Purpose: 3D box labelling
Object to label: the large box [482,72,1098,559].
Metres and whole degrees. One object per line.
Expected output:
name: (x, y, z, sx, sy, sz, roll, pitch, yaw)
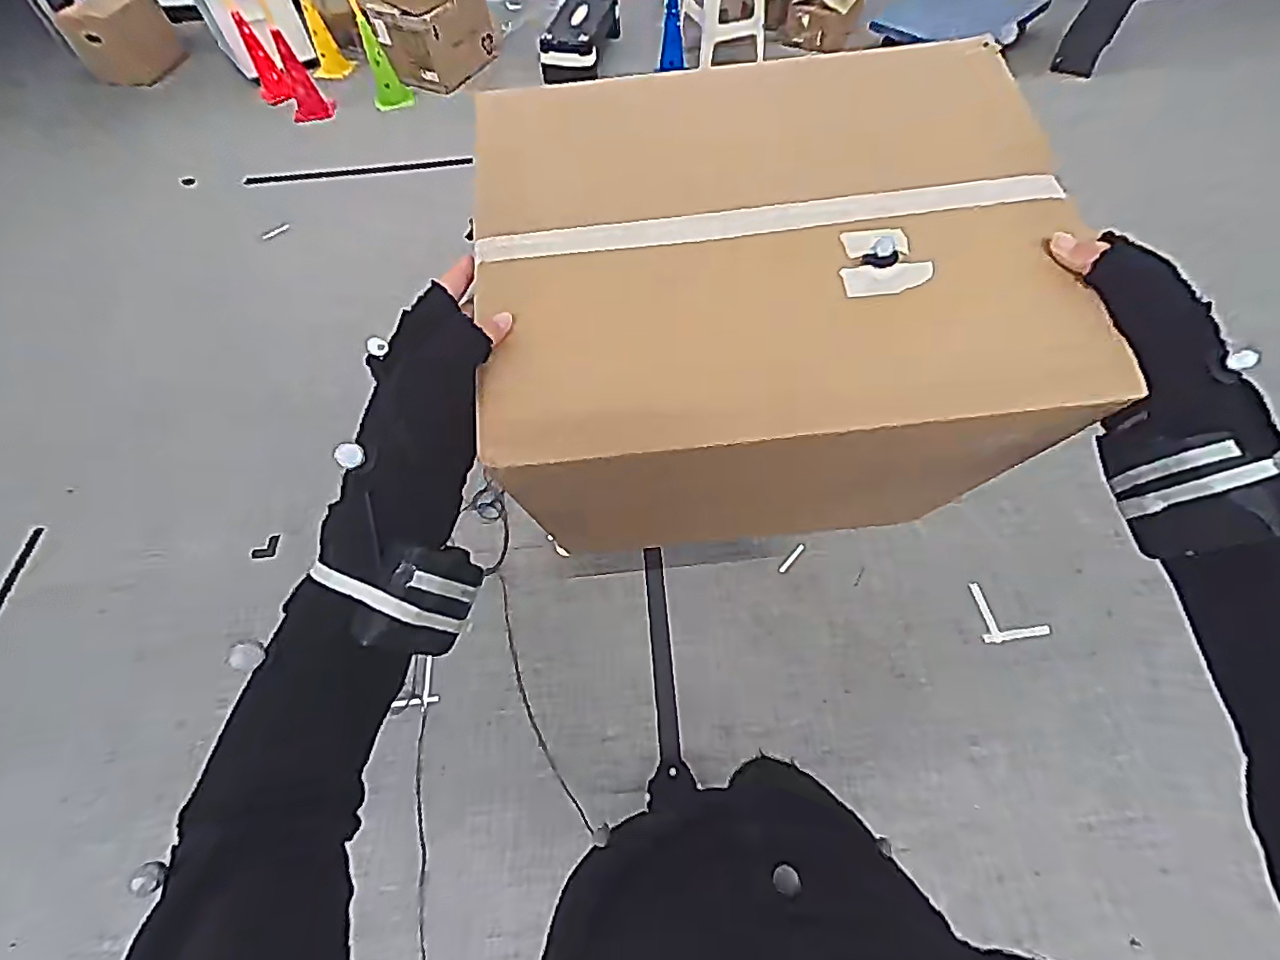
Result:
large box: (0.088, -0.122, 0.536, 0.408, 0.320, 0.320, -6, 71, 0)
